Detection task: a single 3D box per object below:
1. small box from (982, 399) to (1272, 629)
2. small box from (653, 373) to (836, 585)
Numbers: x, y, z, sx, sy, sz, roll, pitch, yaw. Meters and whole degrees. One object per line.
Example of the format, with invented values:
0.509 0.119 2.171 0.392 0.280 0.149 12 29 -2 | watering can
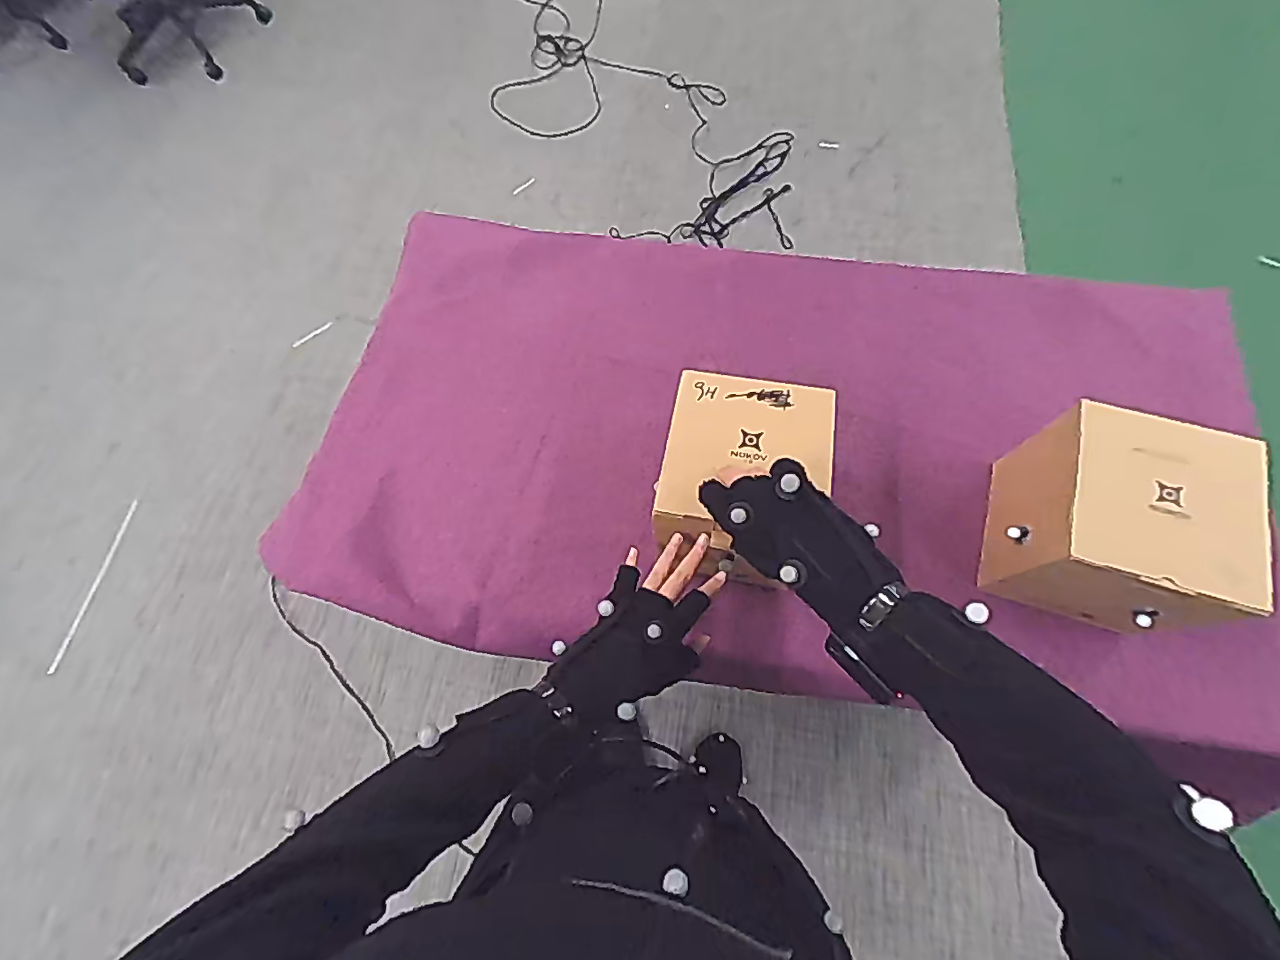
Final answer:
0.498 0.047 0.578 0.168 0.176 0.179 17 70 11 | small box
0.114 0.007 0.615 0.168 0.176 0.179 9 64 8 | small box
